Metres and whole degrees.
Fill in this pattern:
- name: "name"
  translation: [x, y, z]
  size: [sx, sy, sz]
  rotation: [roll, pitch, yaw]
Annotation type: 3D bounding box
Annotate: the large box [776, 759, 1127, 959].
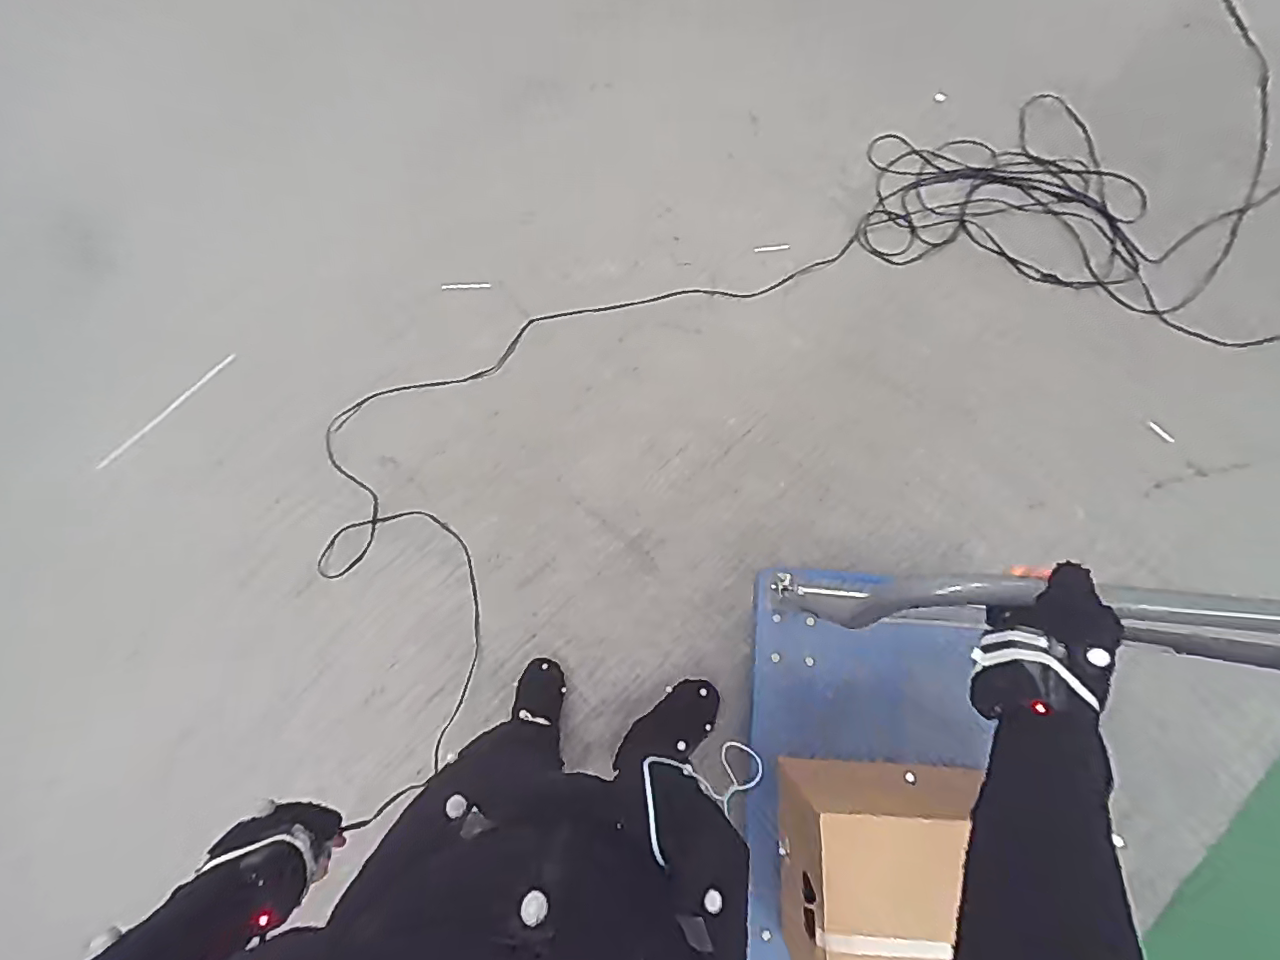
- name: "large box"
  translation: [0.460, 0.662, 0.883]
  size: [0.408, 0.320, 0.320]
  rotation: [1, 77, 2]
